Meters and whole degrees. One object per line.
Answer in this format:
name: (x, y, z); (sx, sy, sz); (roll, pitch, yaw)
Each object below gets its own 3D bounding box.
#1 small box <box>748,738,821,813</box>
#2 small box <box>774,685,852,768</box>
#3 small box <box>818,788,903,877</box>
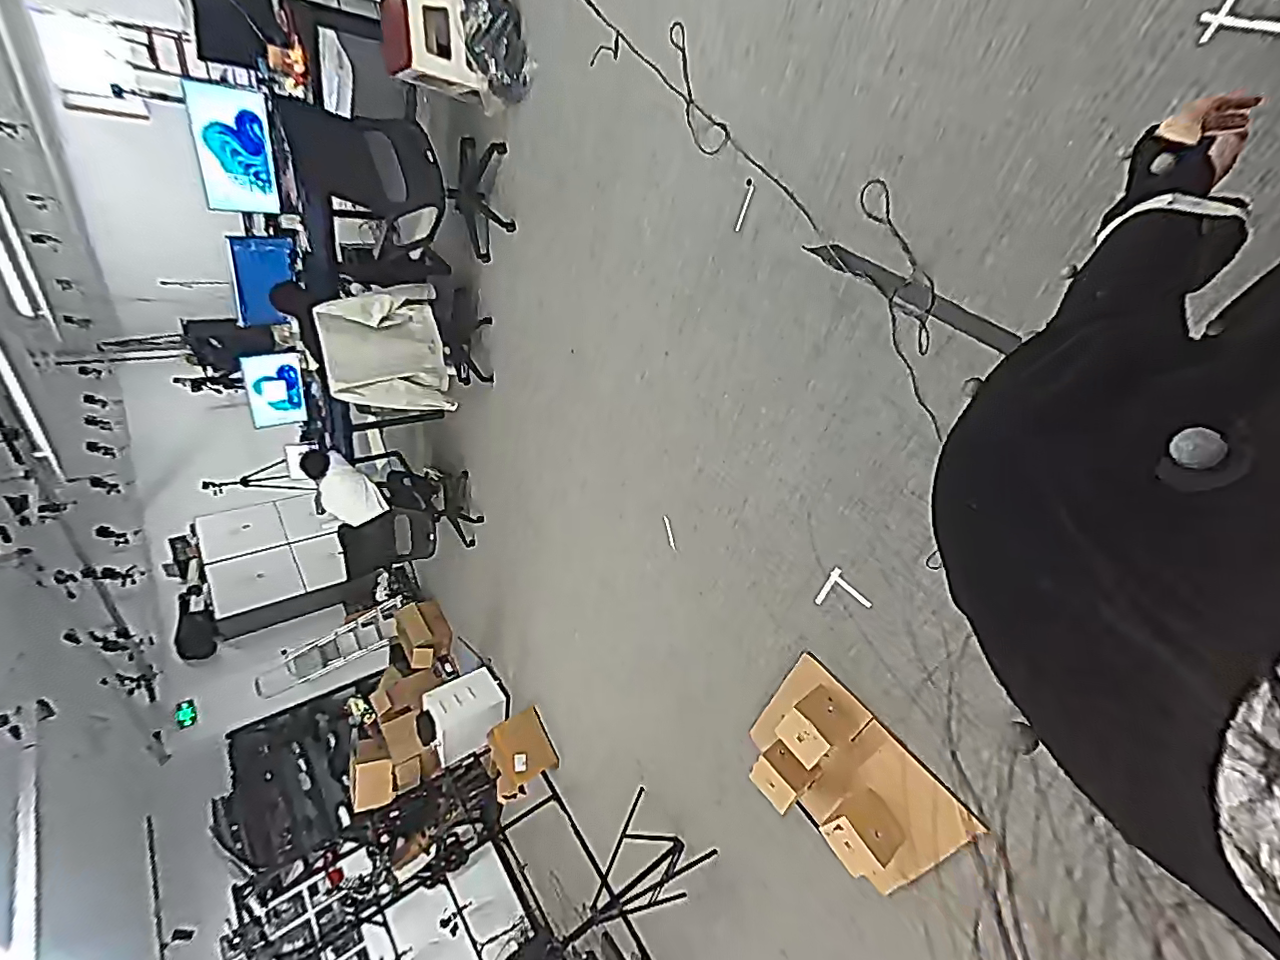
small box: (0.551, 1.112, 2.066); (0.179, 0.176, 0.168); (41, 133, 36)
small box: (0.609, 0.861, 1.896); (0.168, 0.176, 0.179); (45, 133, 32)
small box: (0.751, 1.194, 1.835); (0.179, 0.176, 0.168); (51, 137, 25)
